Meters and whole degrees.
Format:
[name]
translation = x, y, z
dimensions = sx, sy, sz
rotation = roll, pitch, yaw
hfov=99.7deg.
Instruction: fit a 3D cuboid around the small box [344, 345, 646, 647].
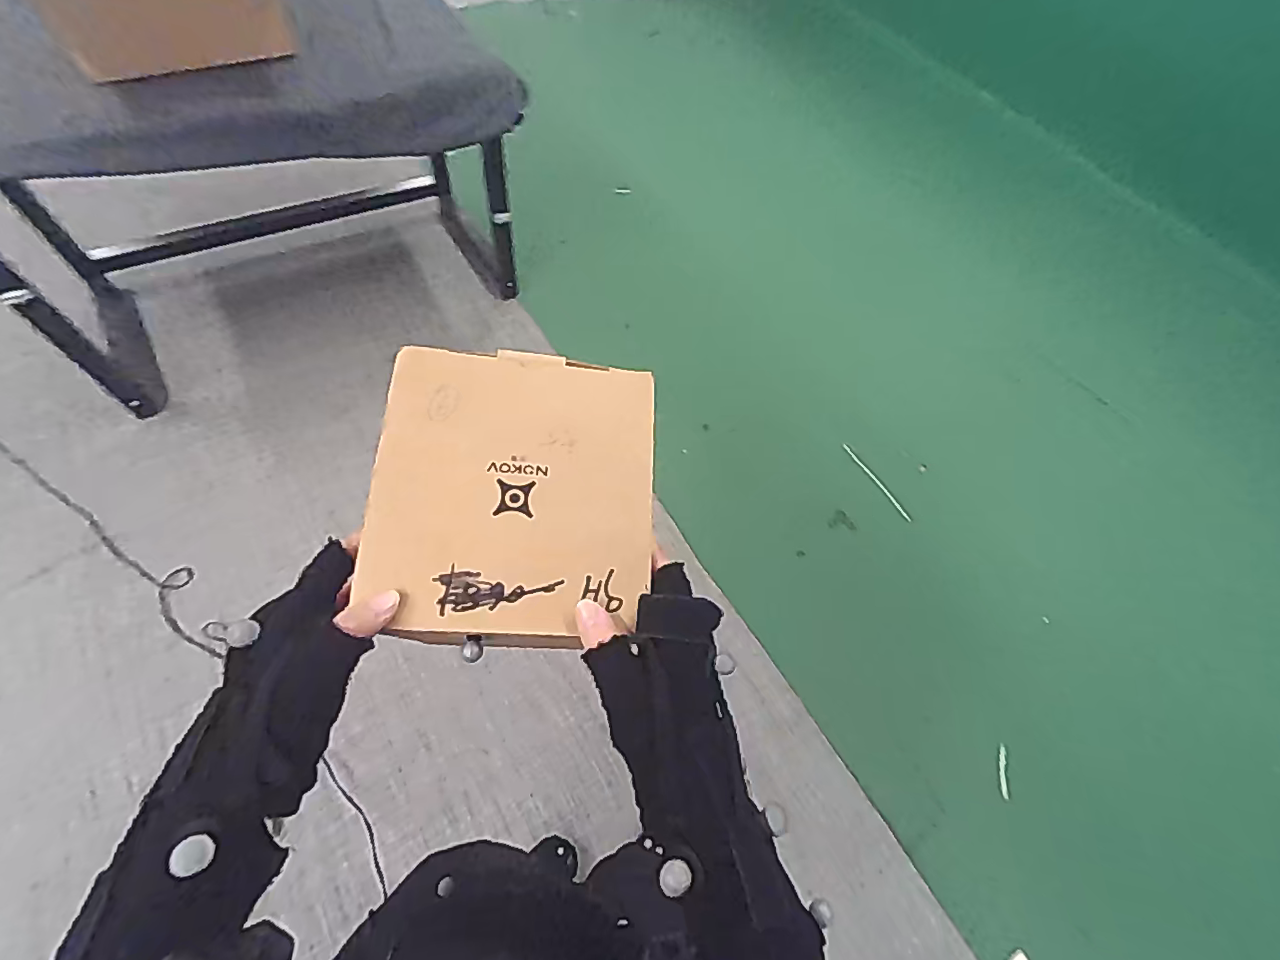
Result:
[small box]
translation = -0.091, 0.027, 0.406
dimensions = 0.168, 0.176, 0.179
rotation = 4, 69, -8
